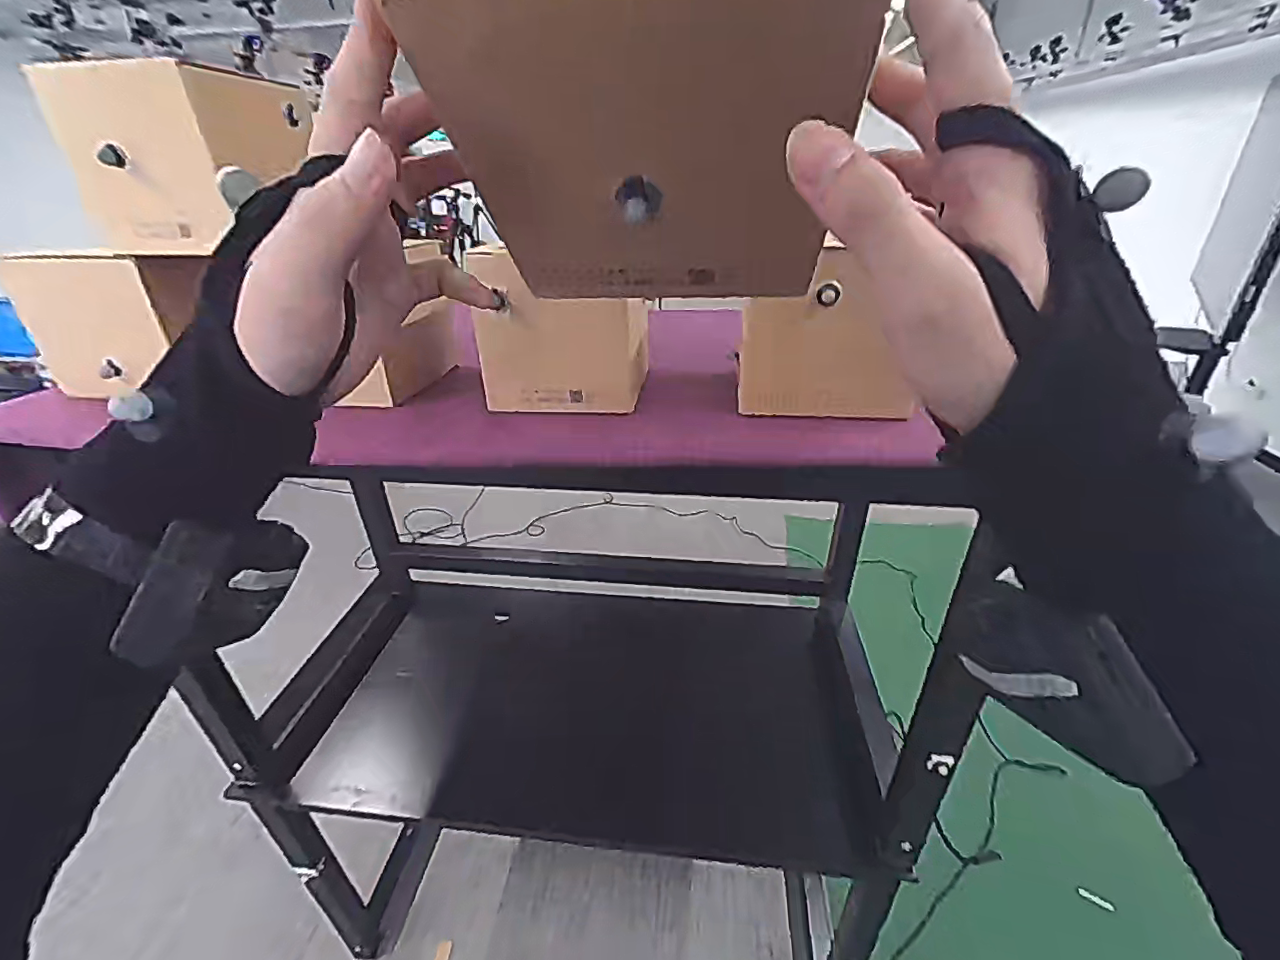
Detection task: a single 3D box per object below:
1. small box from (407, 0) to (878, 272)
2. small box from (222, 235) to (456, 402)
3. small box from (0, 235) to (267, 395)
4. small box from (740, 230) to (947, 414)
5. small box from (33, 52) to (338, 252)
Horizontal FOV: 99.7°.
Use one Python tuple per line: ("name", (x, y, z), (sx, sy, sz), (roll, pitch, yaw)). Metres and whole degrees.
("small box", (0.016, -0.223, 0.267), (0.168, 0.179, 0.176), (2, -16, 8))
("small box", (-0.346, -0.202, 0.665), (0.168, 0.176, 0.179), (4, 28, 9))
("small box", (-0.617, -0.214, 0.694), (0.179, 0.176, 0.168), (3, 29, 5))
("small box", (0.202, -0.178, 0.596), (0.179, 0.176, 0.168), (3, 28, 8))
("small box", (-0.477, -0.353, 0.607), (0.168, 0.176, 0.179), (3, 28, 7))
